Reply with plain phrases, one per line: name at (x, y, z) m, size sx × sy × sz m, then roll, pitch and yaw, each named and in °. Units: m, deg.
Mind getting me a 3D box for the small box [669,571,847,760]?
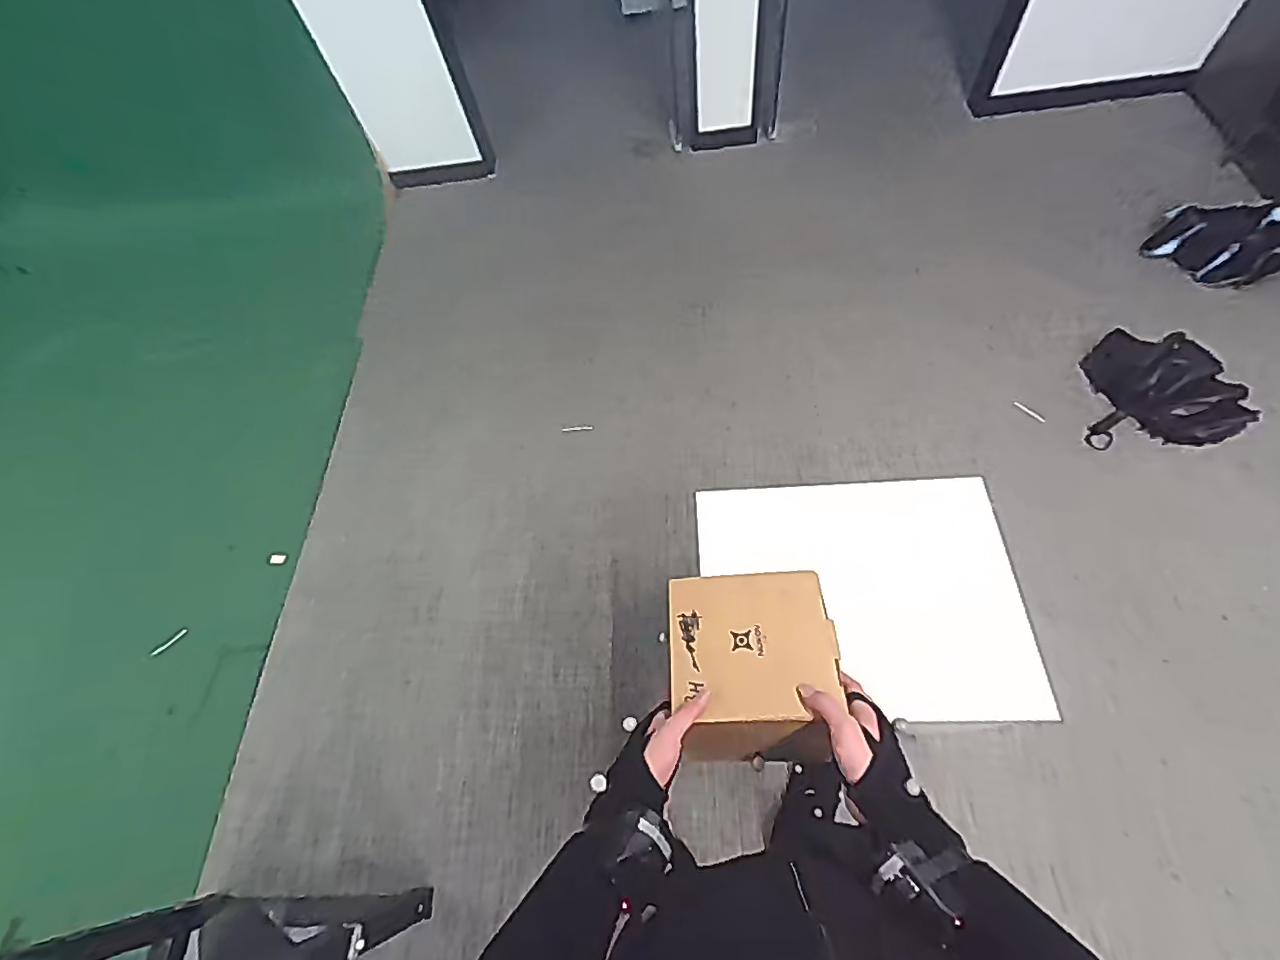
small box at (0.126, 0.222, 0.640) m, size 0.179 × 0.176 × 0.168 m, roll -3°, pitch 49°, yaw 6°
